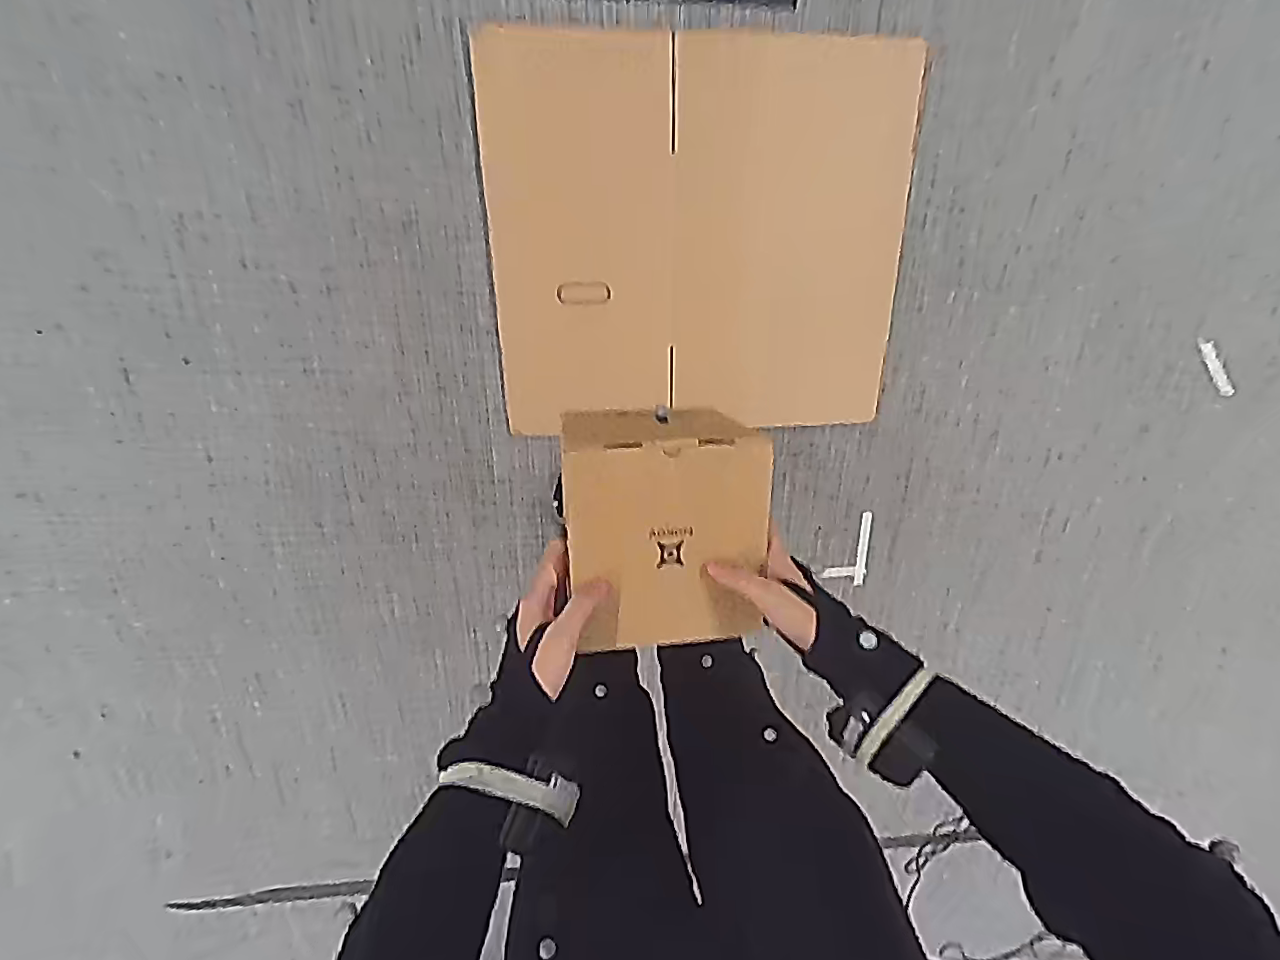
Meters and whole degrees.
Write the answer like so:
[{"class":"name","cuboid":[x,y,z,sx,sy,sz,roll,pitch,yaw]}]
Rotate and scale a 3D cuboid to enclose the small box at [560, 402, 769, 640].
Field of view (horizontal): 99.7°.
[{"class":"small box","cuboid":[0.011,0.026,0.516,0.168,0.176,0.179,-4,106,-8]}]
